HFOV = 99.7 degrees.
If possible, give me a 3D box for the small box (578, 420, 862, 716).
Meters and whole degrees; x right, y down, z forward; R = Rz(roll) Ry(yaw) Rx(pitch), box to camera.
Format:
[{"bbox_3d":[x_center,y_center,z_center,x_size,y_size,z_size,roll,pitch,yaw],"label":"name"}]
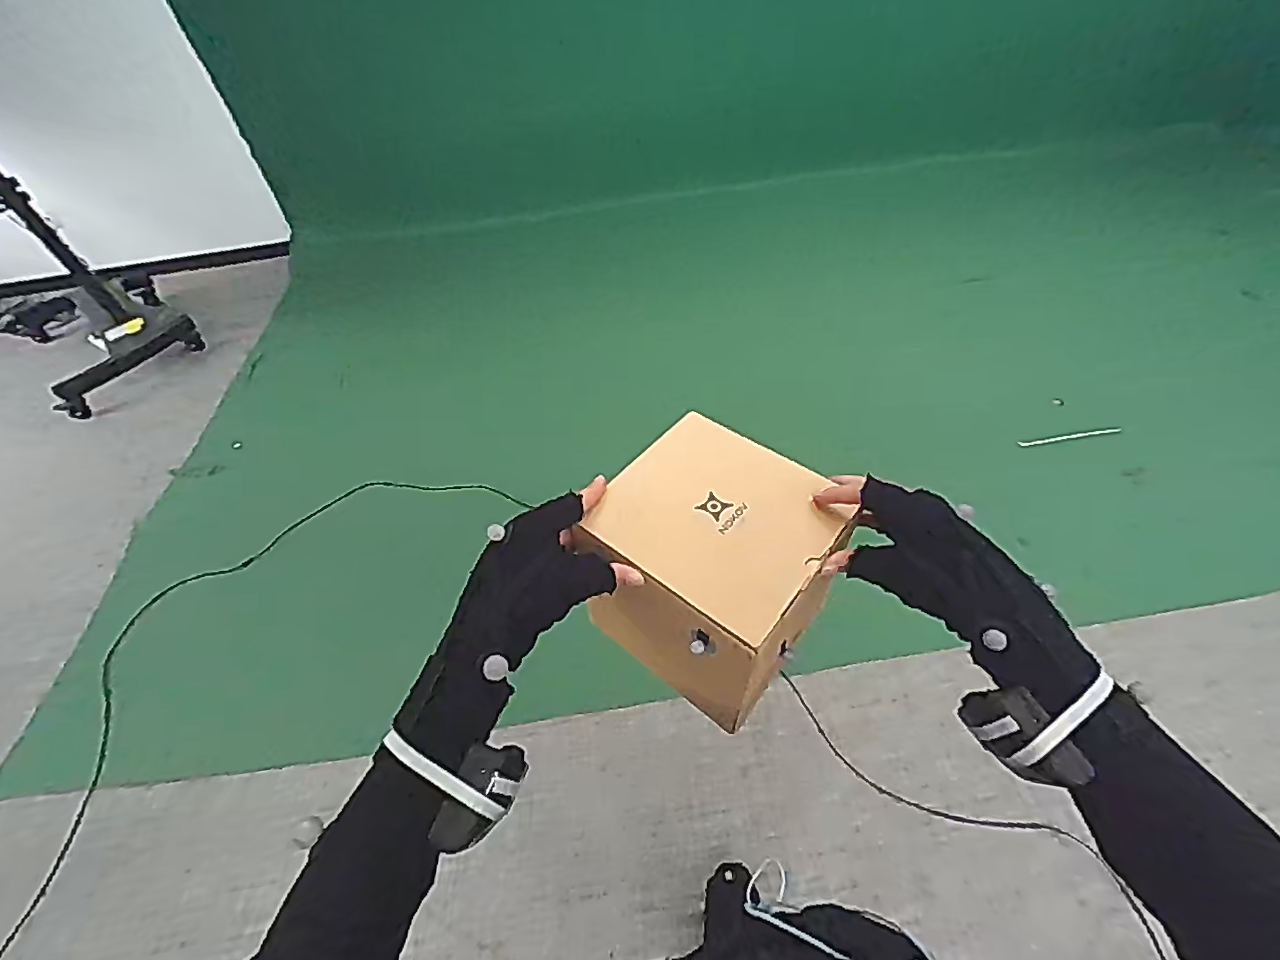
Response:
[{"bbox_3d":[0.066,0.081,0.498,0.179,0.176,0.168,32,56,26],"label":"small box"}]
